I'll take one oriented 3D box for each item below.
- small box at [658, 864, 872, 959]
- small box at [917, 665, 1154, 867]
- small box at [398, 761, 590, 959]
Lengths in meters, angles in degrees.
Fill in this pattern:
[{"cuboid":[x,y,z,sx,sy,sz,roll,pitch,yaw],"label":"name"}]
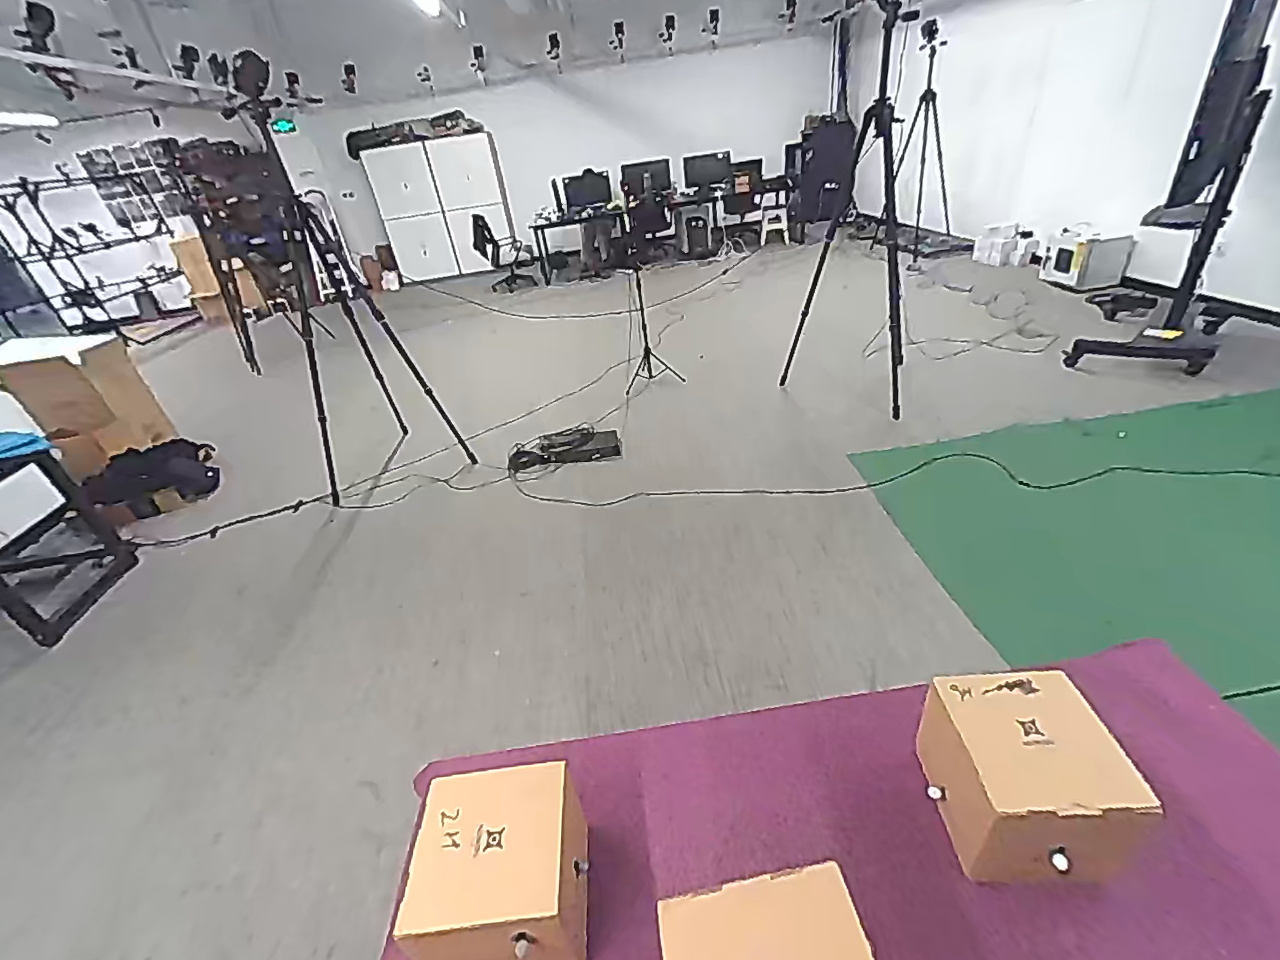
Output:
[{"cuboid":[0.118,0.466,0.448,0.168,0.176,0.179,-14,34,1],"label":"small box"},{"cuboid":[0.473,0.361,0.683,0.168,0.176,0.179,-5,34,7],"label":"small box"},{"cuboid":[-0.161,0.482,0.671,0.179,0.176,0.168,-9,32,2],"label":"small box"}]
